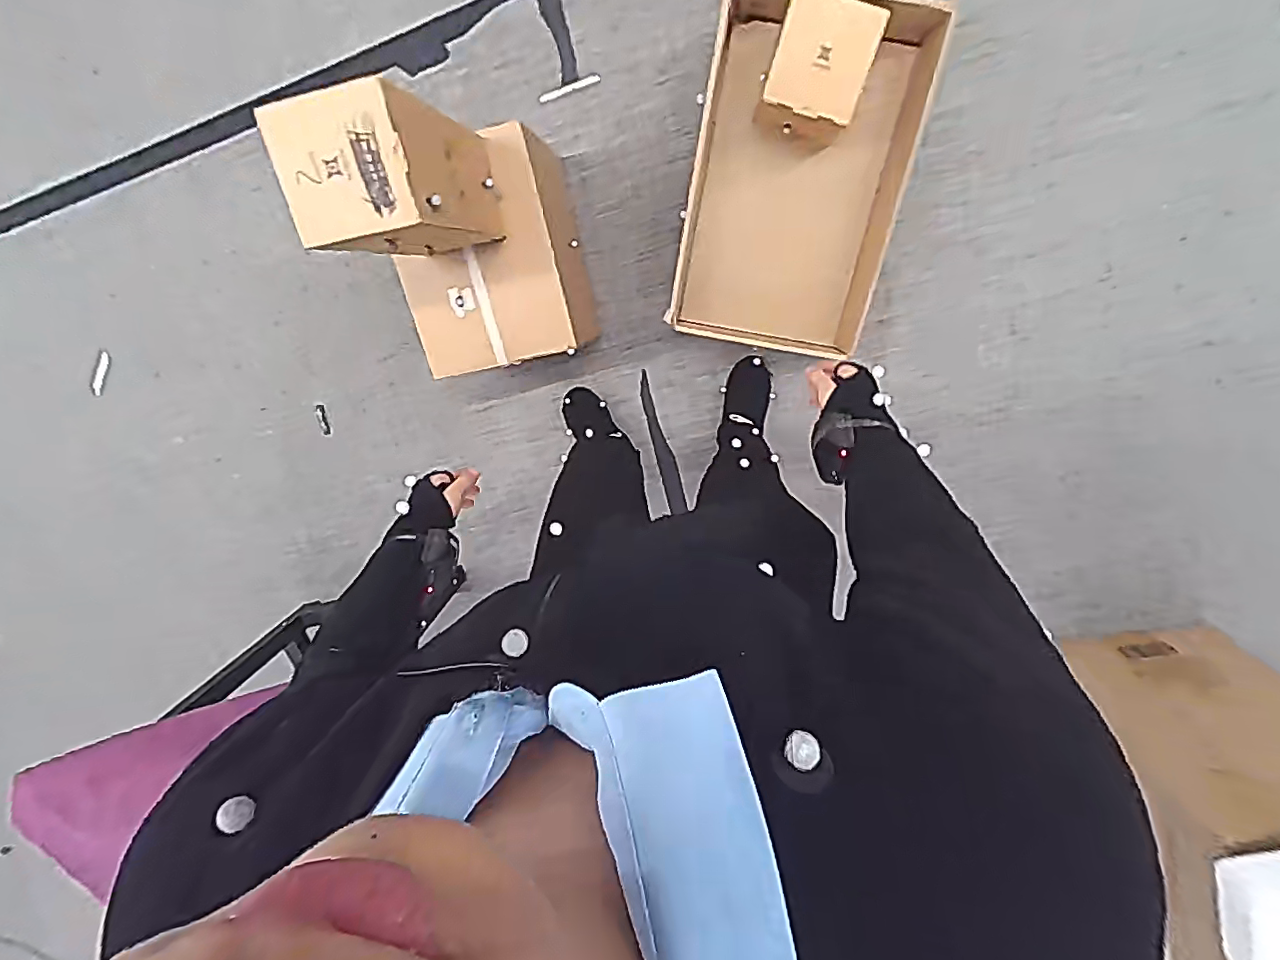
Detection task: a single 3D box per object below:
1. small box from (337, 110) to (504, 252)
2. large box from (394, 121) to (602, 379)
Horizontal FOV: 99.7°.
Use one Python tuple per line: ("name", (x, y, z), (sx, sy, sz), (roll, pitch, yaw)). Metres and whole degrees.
("small box", (-0.353, -0.483, 0.902), (0.179, 0.176, 0.168), (-8, 111, 9))
("large box", (-0.297, -0.470, 1.165), (0.320, 0.320, 0.408), (-10, 109, 11))
